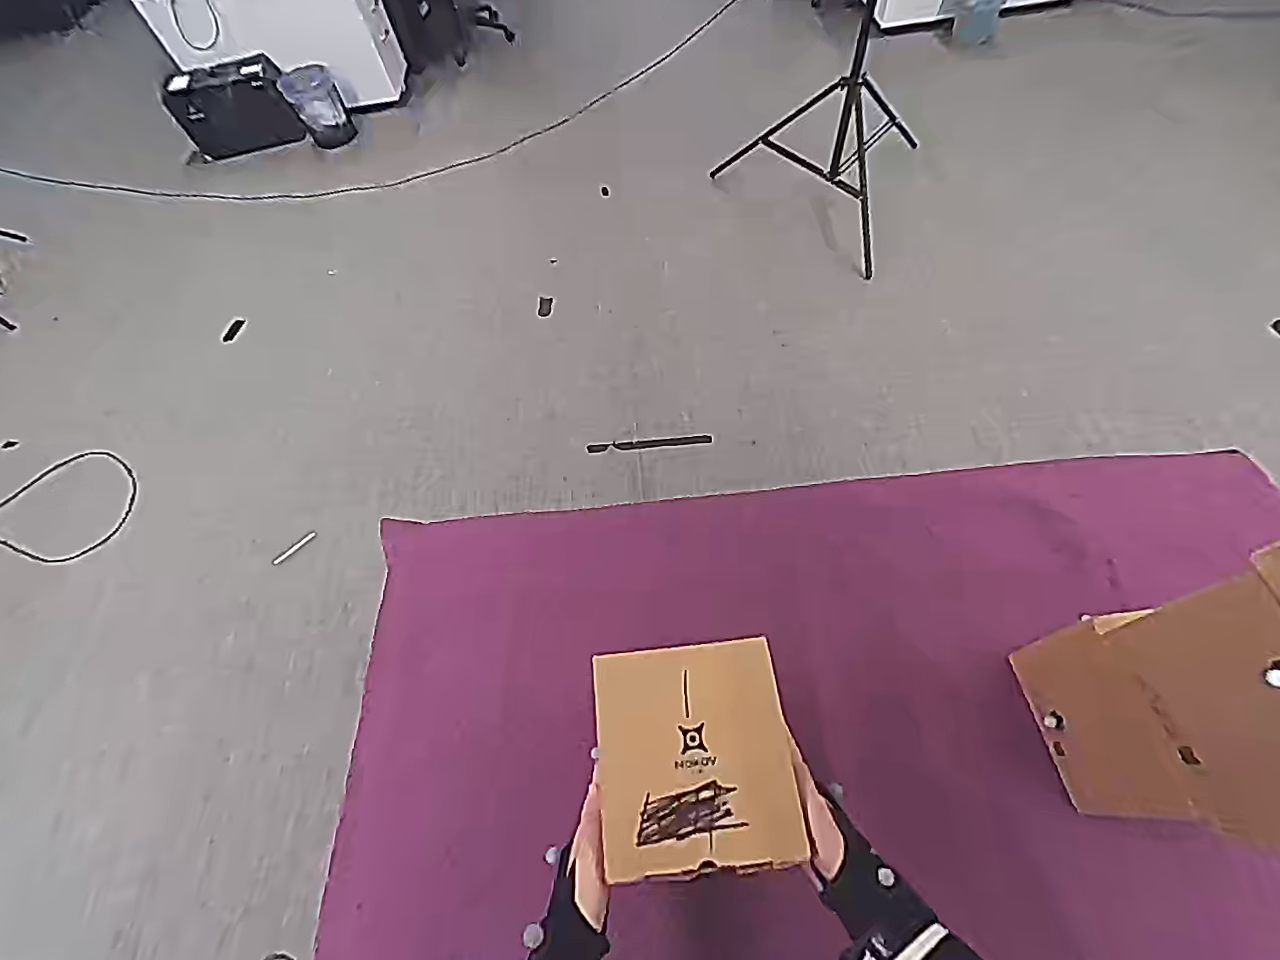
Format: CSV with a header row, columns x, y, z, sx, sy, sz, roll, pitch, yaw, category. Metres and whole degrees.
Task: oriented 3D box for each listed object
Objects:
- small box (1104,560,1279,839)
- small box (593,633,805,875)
x,y,z,sx,sy,sz,roll,pitch,yaw,category
0.510,0.152,0.391,0.179,0.176,0.168,-11,59,0,small box
0.049,0.263,0.534,0.168,0.176,0.179,-6,62,0,small box
